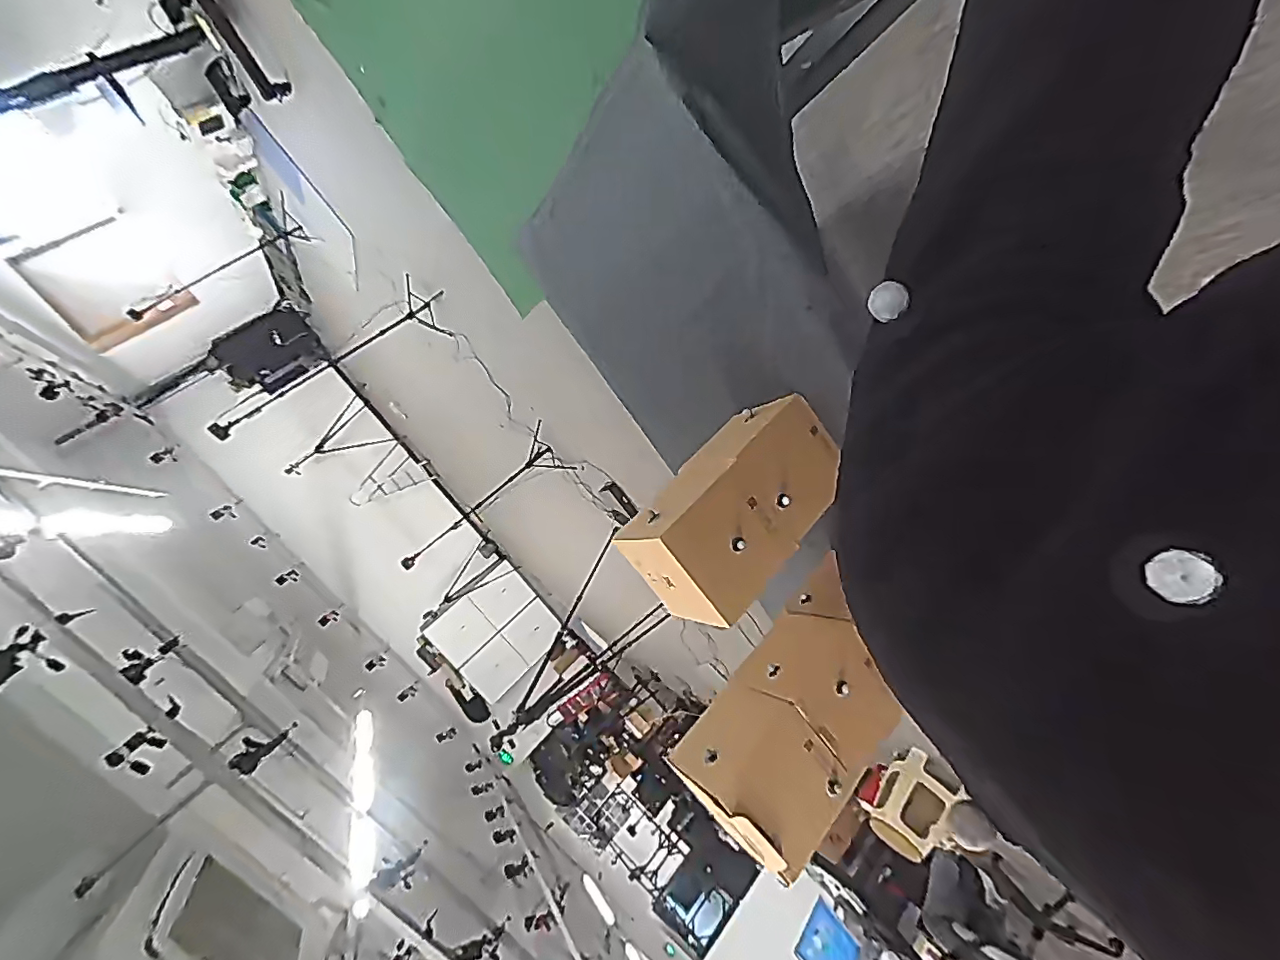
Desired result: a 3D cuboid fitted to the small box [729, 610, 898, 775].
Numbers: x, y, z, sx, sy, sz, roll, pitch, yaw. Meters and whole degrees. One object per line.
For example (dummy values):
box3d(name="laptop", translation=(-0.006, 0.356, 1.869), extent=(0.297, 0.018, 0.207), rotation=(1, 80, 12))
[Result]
box3d(name="small box", translation=(0.288, 0.331, 0.884), extent=(0.168, 0.176, 0.179), rotation=(51, 158, -8))

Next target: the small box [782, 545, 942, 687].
box3d(name="small box", translation=(0.394, 0.227, 0.949), extent=(0.168, 0.176, 0.179), rotation=(51, 157, -10))

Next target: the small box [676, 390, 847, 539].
box3d(name="small box", translation=(0.197, -0.021, 0.884), extent=(0.168, 0.176, 0.179), rotation=(51, 157, -12))

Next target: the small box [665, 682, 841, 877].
box3d(name="small box", translation=(0.176, 0.435, 0.822), extent=(0.168, 0.176, 0.179), rotation=(51, 158, -7))

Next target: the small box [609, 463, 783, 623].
box3d(name="small box", translation=(0.090, 0.089, 0.819), extent=(0.168, 0.176, 0.179), rotation=(52, 156, -11))
